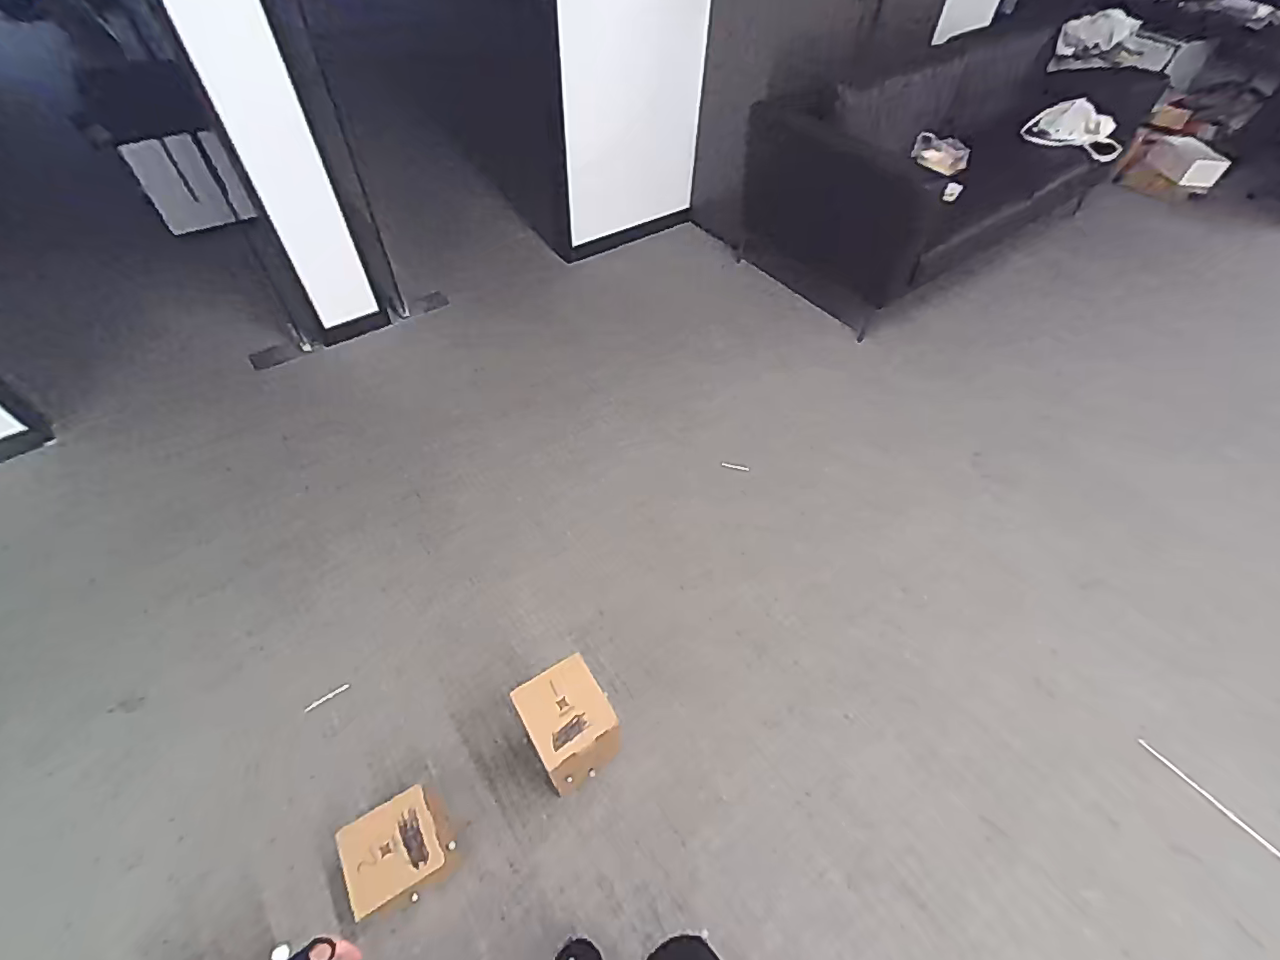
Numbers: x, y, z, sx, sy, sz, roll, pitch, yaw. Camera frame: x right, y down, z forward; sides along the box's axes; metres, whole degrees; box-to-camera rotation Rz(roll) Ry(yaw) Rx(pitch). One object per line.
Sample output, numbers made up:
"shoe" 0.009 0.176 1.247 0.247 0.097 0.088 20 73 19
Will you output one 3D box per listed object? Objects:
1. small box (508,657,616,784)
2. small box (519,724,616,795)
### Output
"small box" -0.161 0.520 1.157 0.168 0.176 0.179 -26 56 -22
"small box" -0.169 0.621 1.288 0.168 0.176 0.179 -27 58 -23
